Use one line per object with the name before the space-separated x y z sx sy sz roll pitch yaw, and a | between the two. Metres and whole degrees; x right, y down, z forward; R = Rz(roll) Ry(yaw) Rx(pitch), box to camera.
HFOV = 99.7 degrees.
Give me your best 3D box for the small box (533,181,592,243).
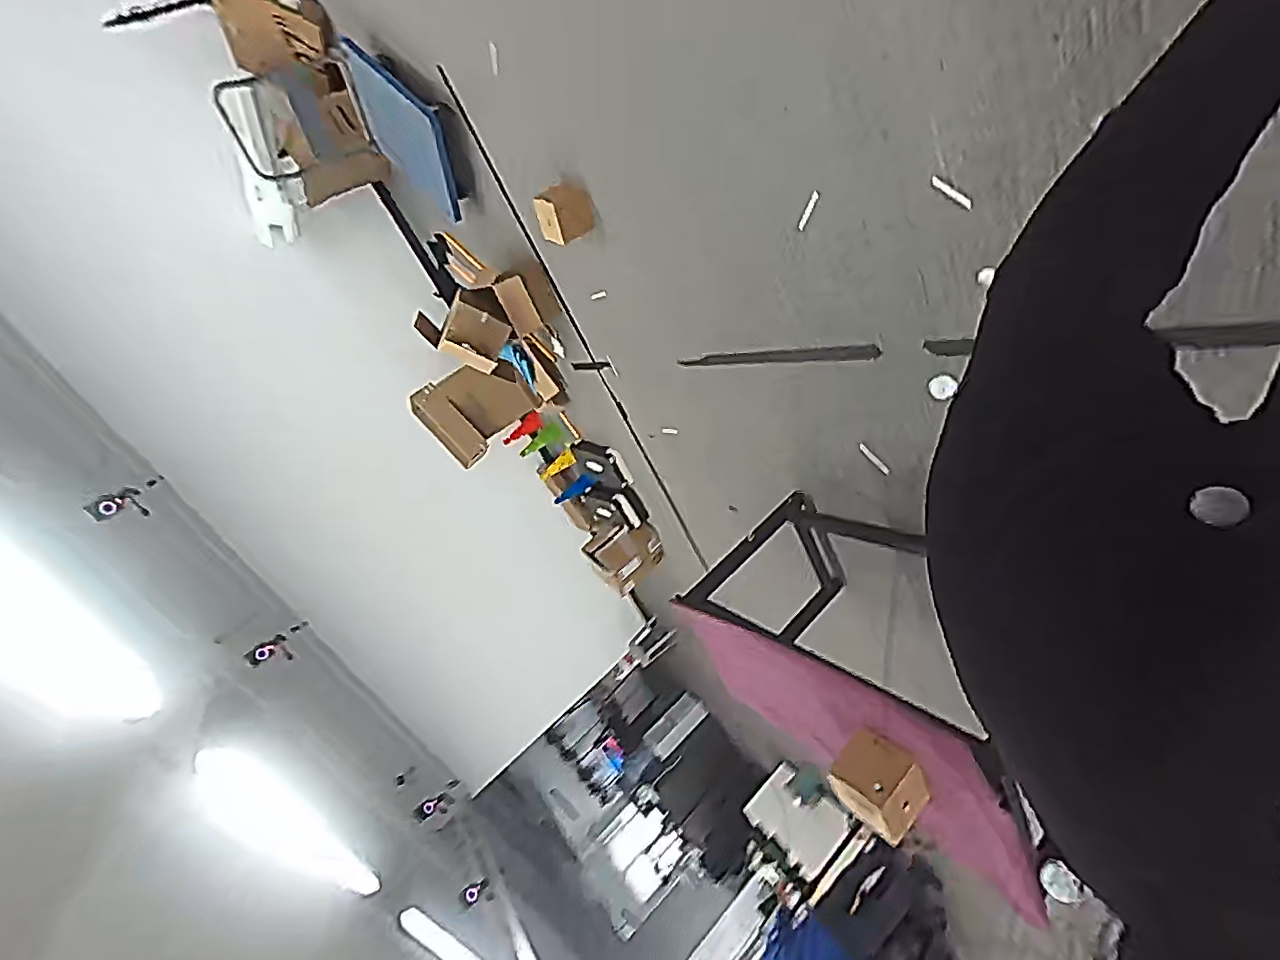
small box | -0.327 -1.158 2.333 0.168 0.176 0.179 36 154 37
